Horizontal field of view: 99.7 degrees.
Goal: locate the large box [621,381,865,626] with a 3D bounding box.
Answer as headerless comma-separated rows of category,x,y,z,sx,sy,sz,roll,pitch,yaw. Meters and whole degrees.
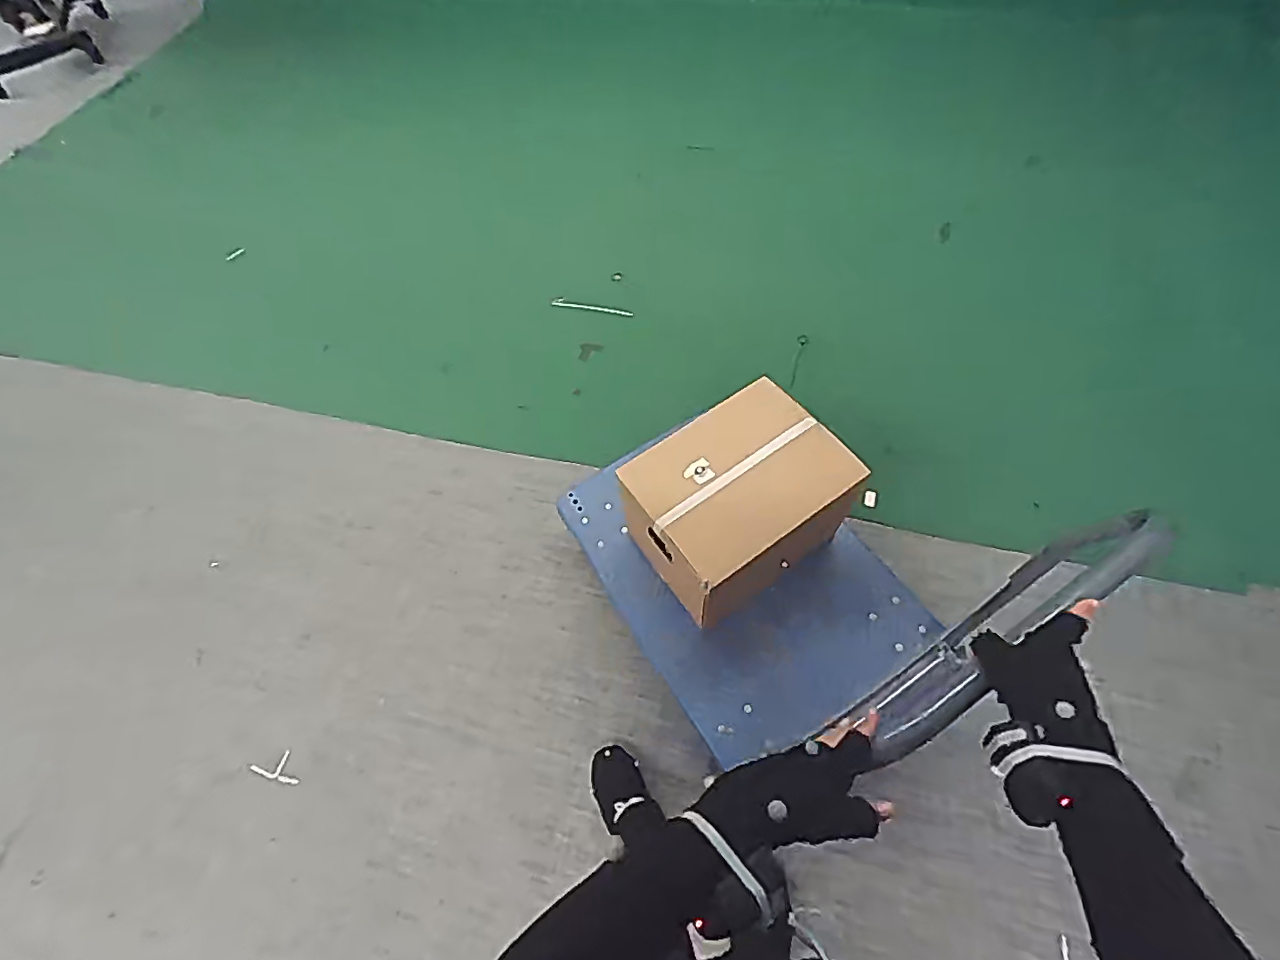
large box,0.216,0.060,1.218,0.408,0.320,0.320,-34,63,-13
